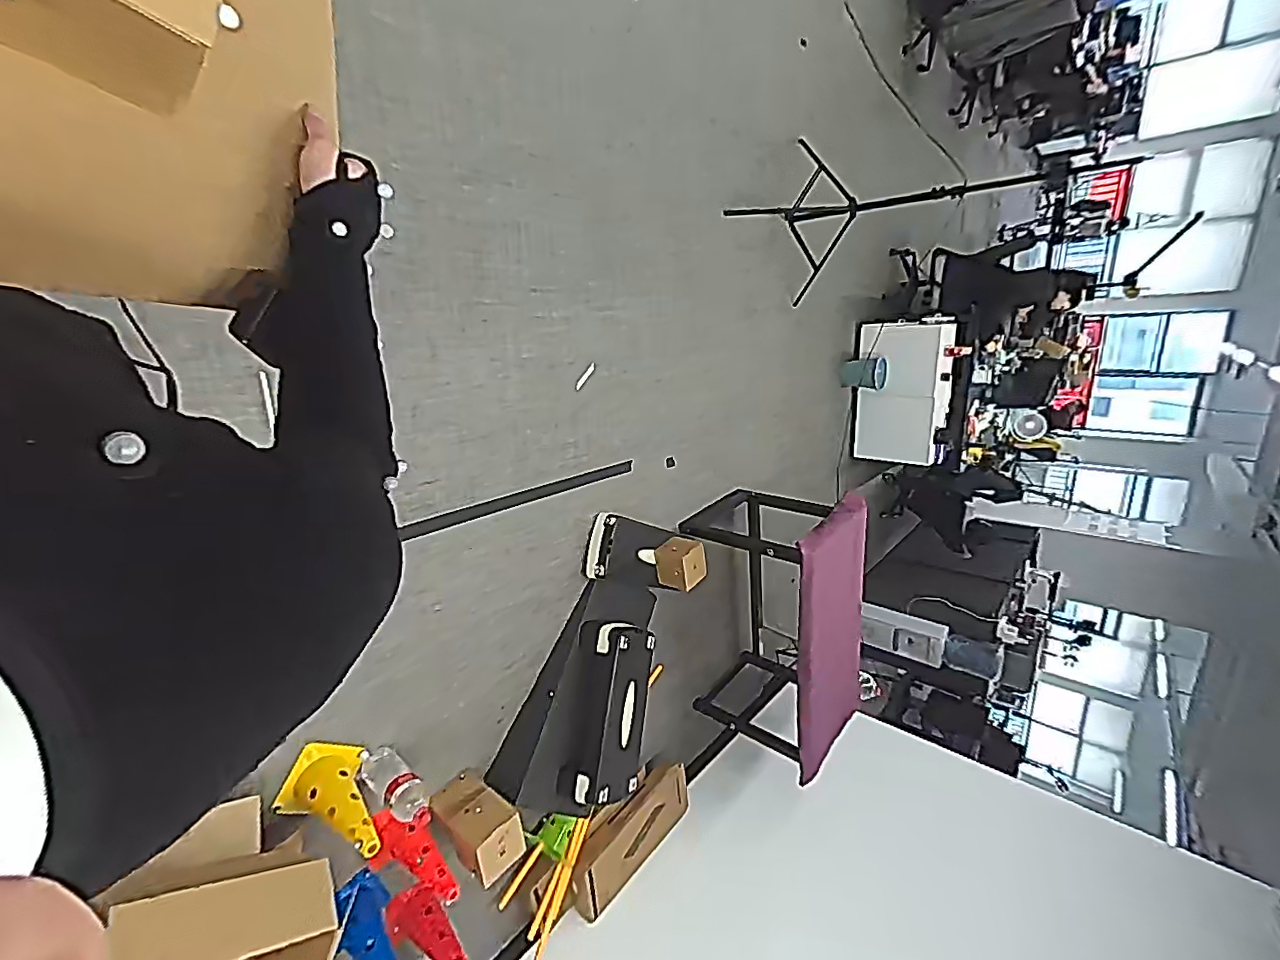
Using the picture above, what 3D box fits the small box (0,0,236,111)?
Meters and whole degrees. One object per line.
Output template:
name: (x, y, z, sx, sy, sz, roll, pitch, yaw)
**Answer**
small box: (-0.376, -0.379, 0.350, 0.179, 0.176, 0.168, 10, 93, -45)
